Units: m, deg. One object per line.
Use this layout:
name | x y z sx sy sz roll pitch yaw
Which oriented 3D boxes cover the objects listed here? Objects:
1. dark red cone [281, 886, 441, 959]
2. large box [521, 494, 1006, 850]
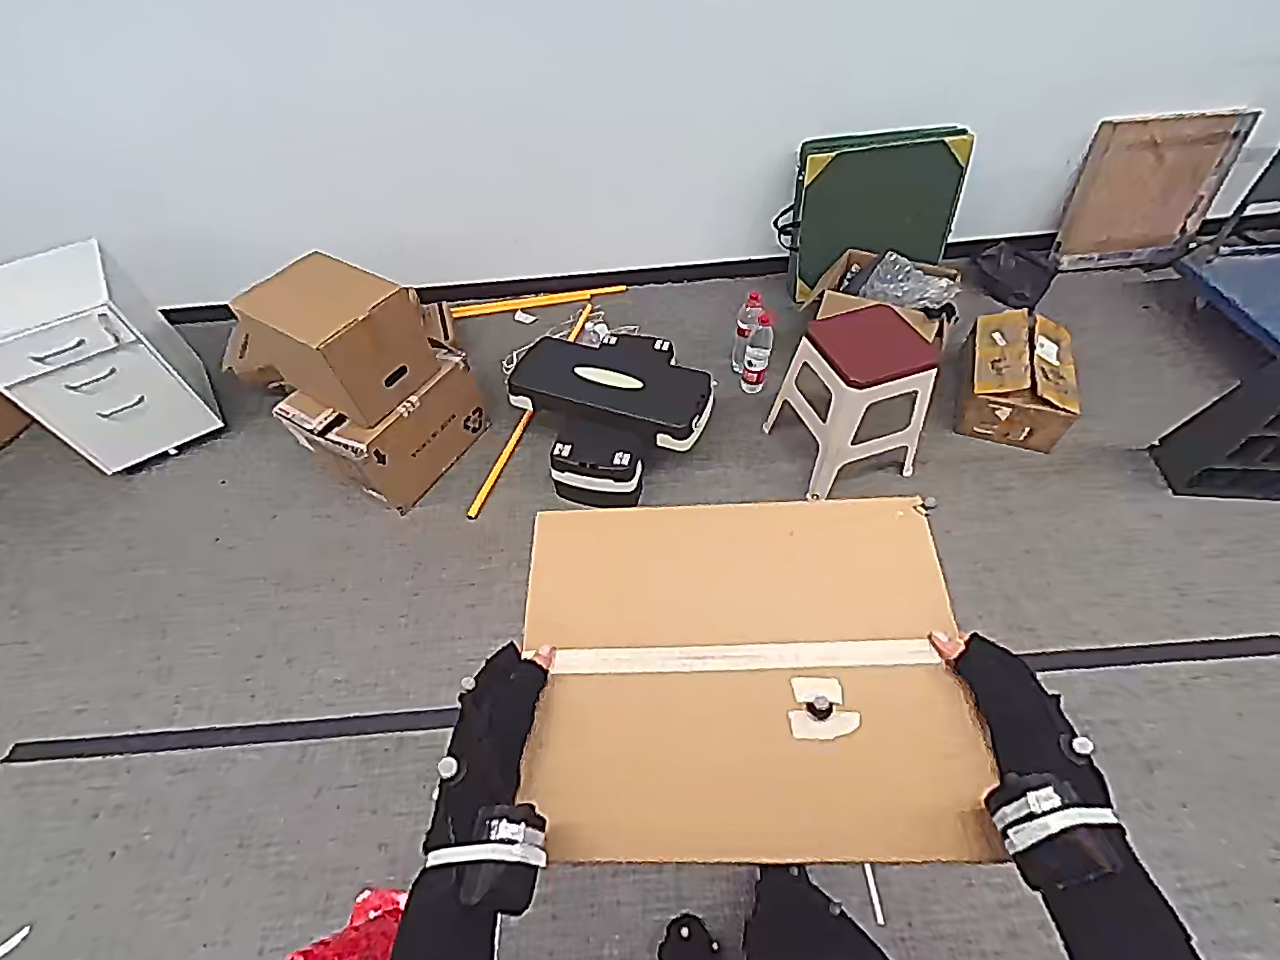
dark red cone | -0.525 0.856 0.971 0.201 0.394 0.202 1 52 3
large box | 0.102 0.231 0.640 0.408 0.320 0.320 -3 62 3
